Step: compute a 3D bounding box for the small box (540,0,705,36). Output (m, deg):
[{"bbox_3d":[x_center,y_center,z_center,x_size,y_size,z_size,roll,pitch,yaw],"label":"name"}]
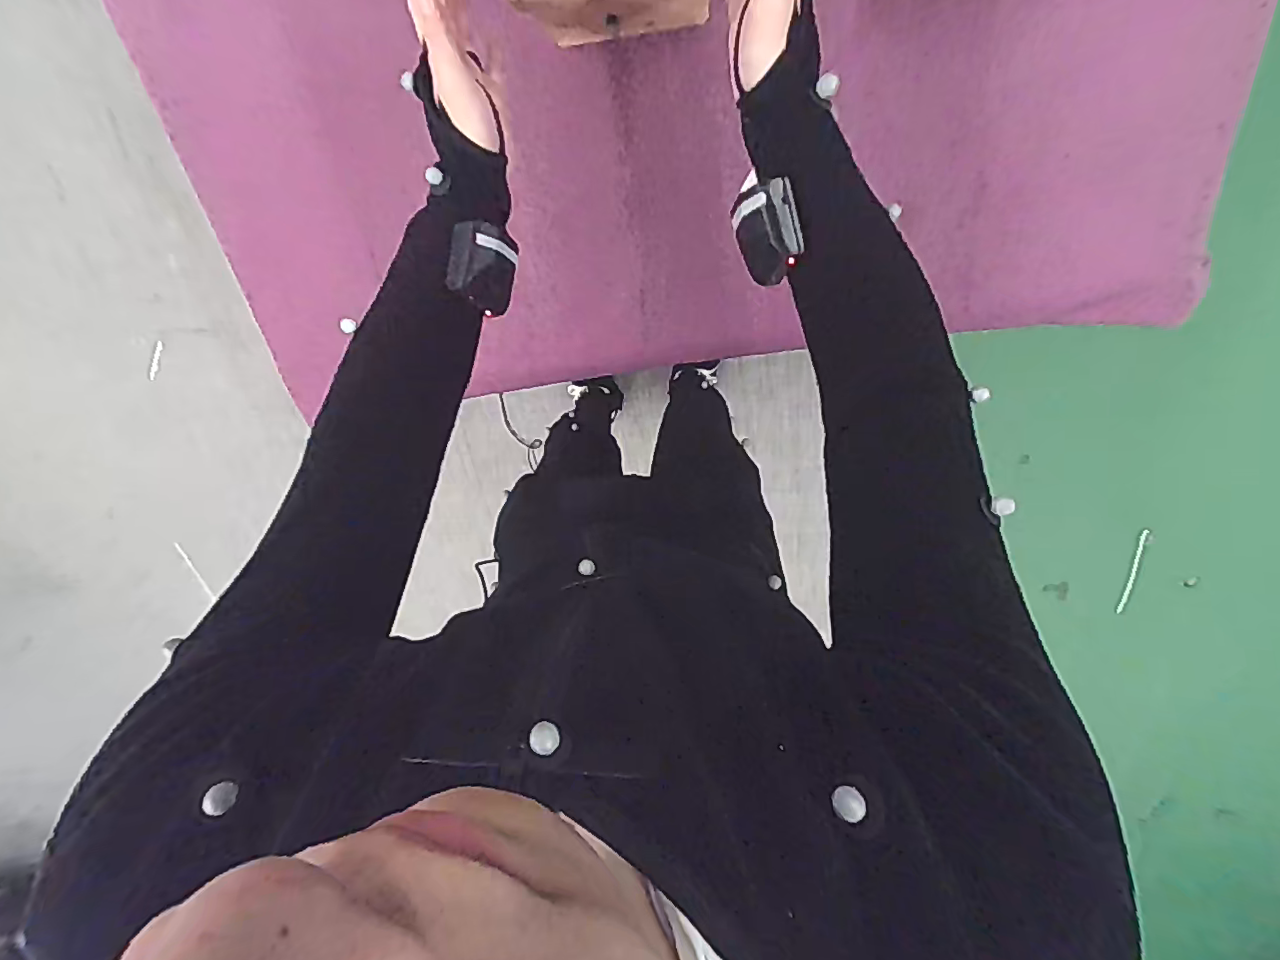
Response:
[{"bbox_3d":[-0.025,-0.523,0.467,0.168,0.176,0.179,-4,119,6],"label":"small box"}]
